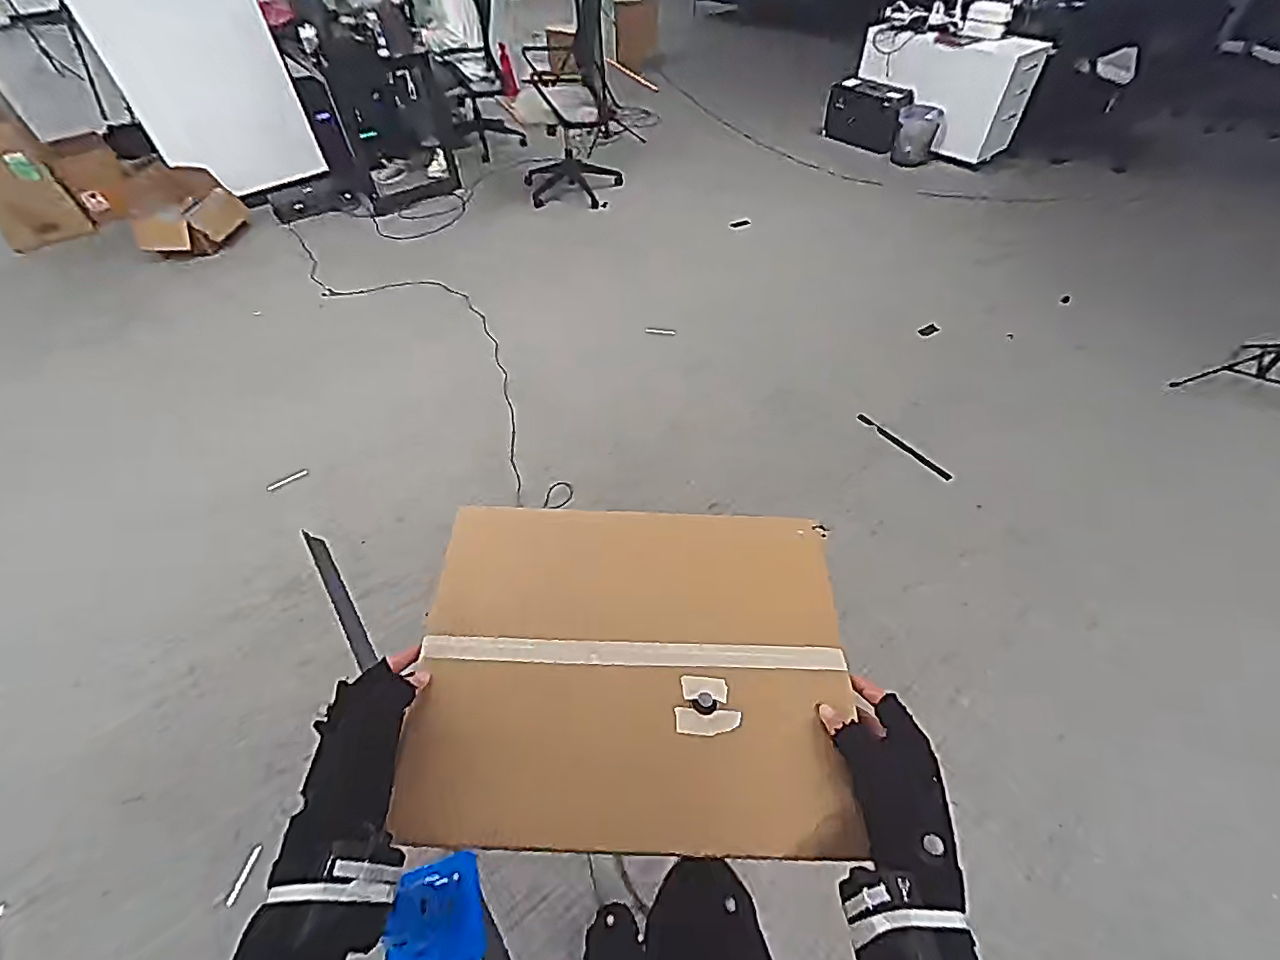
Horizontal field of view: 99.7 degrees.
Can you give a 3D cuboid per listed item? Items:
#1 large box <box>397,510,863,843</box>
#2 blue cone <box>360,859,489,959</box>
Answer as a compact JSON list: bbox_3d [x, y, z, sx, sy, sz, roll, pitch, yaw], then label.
[{"bbox_3d":[-0.009,0.251,0.658,0.408,0.320,0.320,3,57,0],"label":"large box"},{"bbox_3d":[-0.435,0.836,1.030,0.193,0.380,0.192,-14,51,-8],"label":"blue cone"}]
